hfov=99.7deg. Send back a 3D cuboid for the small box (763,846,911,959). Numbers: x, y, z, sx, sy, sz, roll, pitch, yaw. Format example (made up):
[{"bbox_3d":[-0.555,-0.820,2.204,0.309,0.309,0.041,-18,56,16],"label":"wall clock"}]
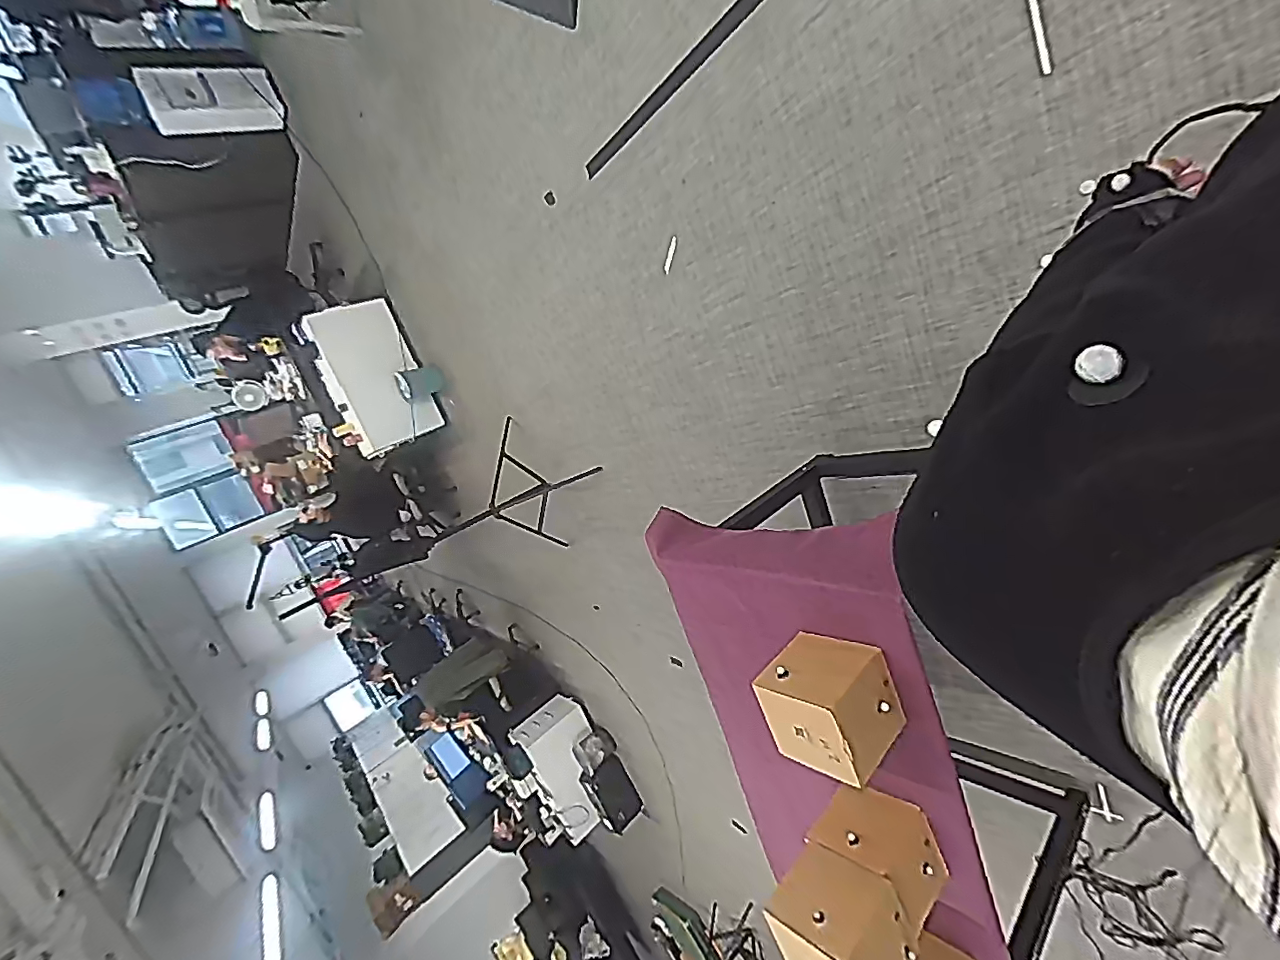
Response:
[{"bbox_3d":[0.363,0.817,0.980,0.179,0.176,0.168,-10,106,54],"label":"small box"}]

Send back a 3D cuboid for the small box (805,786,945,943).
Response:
[{"bbox_3d":[0.472,0.753,1.085,0.179,0.176,0.168,-13,105,54],"label":"small box"}]

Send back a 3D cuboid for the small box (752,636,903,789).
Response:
[{"bbox_3d":[0.342,0.407,0.985,0.179,0.176,0.168,-6,111,54],"label":"small box"}]
